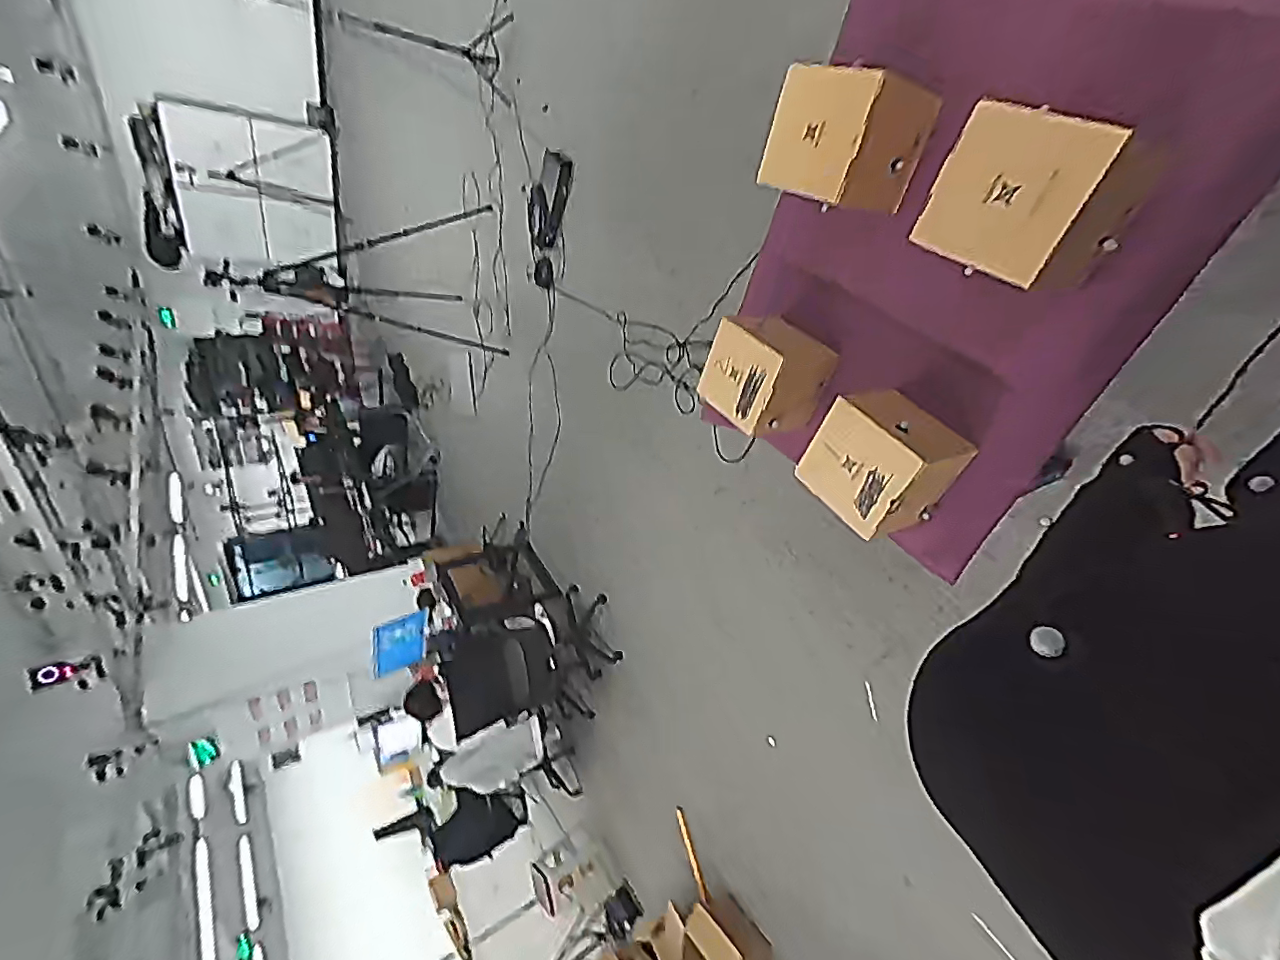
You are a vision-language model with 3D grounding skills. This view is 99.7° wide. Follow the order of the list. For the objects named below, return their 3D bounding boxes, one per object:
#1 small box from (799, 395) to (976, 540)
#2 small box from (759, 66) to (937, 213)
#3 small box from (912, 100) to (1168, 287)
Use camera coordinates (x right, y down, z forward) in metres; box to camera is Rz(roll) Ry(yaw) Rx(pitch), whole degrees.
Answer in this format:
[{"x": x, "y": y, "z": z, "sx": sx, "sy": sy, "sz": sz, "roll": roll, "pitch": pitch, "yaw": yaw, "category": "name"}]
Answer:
[{"x": 0.413, "y": -0.031, "z": 0.907, "sx": 0.179, "sy": 0.176, "sz": 0.168, "roll": 51, "pitch": 137, "yaw": 35, "category": "small box"}, {"x": 0.331, "y": -0.543, "z": 0.873, "sx": 0.179, "sy": 0.176, "sz": 0.168, "roll": 42, "pitch": 131, "yaw": 38, "category": "small box"}, {"x": 0.502, "y": -0.355, "z": 0.690, "sx": 0.179, "sy": 0.176, "sz": 0.168, "roll": 48, "pitch": 136, "yaw": 36, "category": "small box"}]
